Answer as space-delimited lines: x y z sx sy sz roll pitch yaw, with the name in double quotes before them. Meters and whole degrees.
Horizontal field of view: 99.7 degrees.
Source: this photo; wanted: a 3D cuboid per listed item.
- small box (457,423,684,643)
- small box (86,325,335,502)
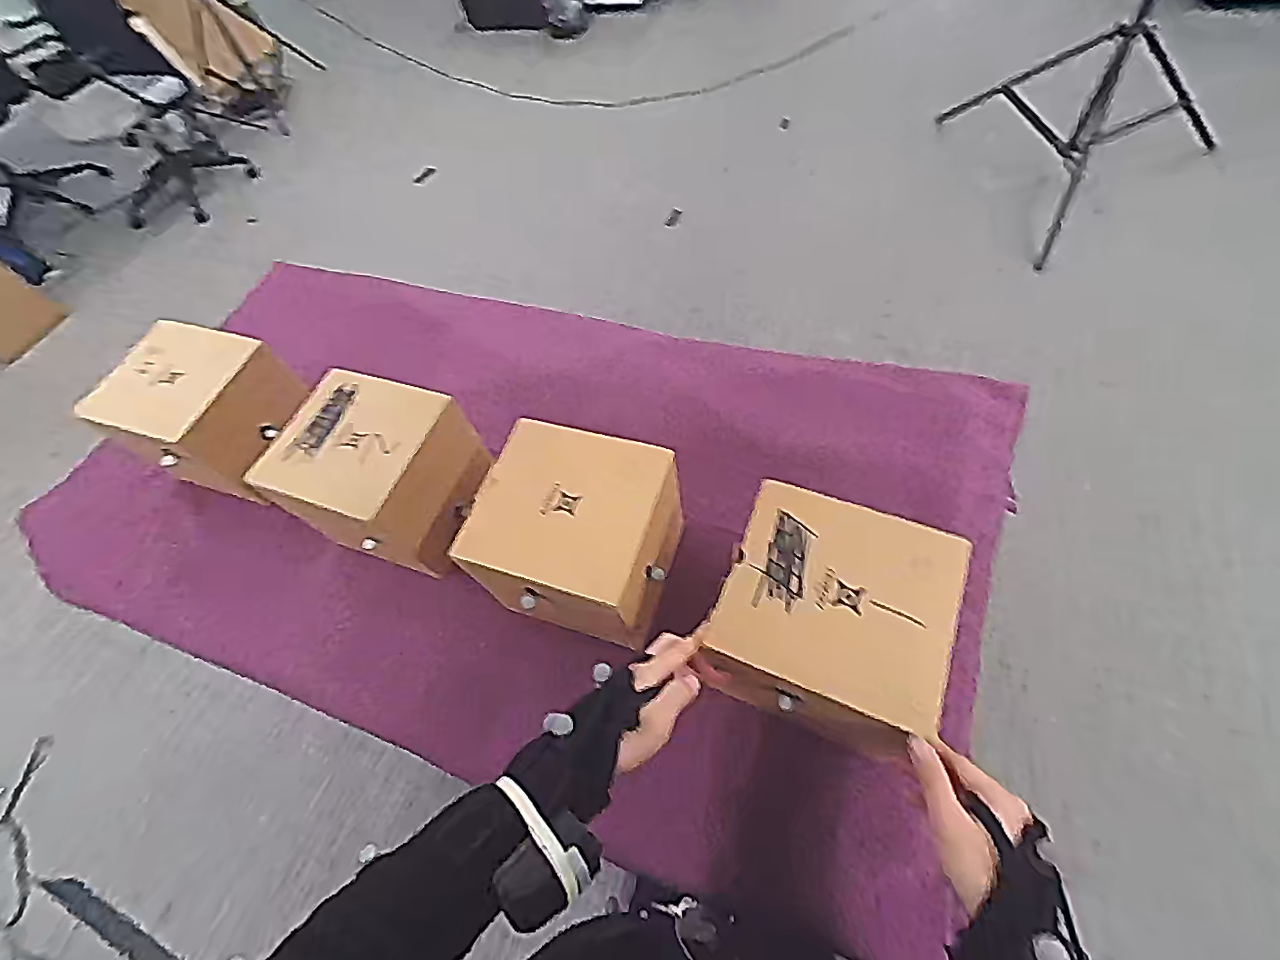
"small box" -0.057 0.065 0.593 0.179 0.176 0.168 13 63 17
"small box" -0.580 -0.087 0.760 0.179 0.176 0.168 14 62 14
